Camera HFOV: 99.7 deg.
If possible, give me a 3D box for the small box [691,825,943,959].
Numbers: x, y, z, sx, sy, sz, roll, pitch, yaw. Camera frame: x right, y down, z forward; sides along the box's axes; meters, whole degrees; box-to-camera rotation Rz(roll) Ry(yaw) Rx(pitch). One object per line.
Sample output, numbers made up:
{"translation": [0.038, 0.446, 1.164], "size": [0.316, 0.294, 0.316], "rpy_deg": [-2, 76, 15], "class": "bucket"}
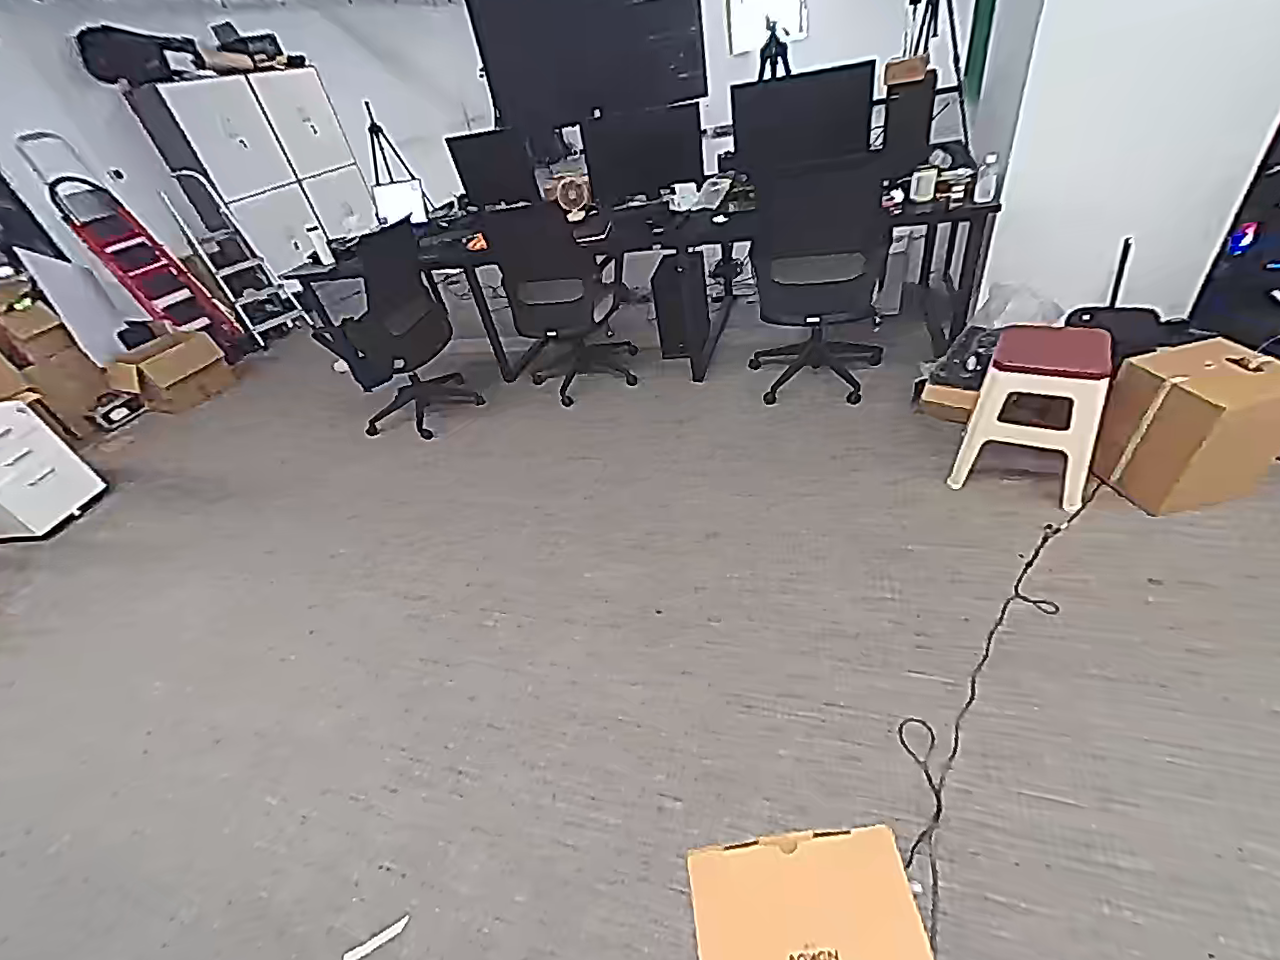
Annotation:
{"translation": [0.139, 0.395, 0.424], "size": [0.168, 0.176, 0.179], "rpy_deg": [-9, 46, 4], "class": "small box"}
